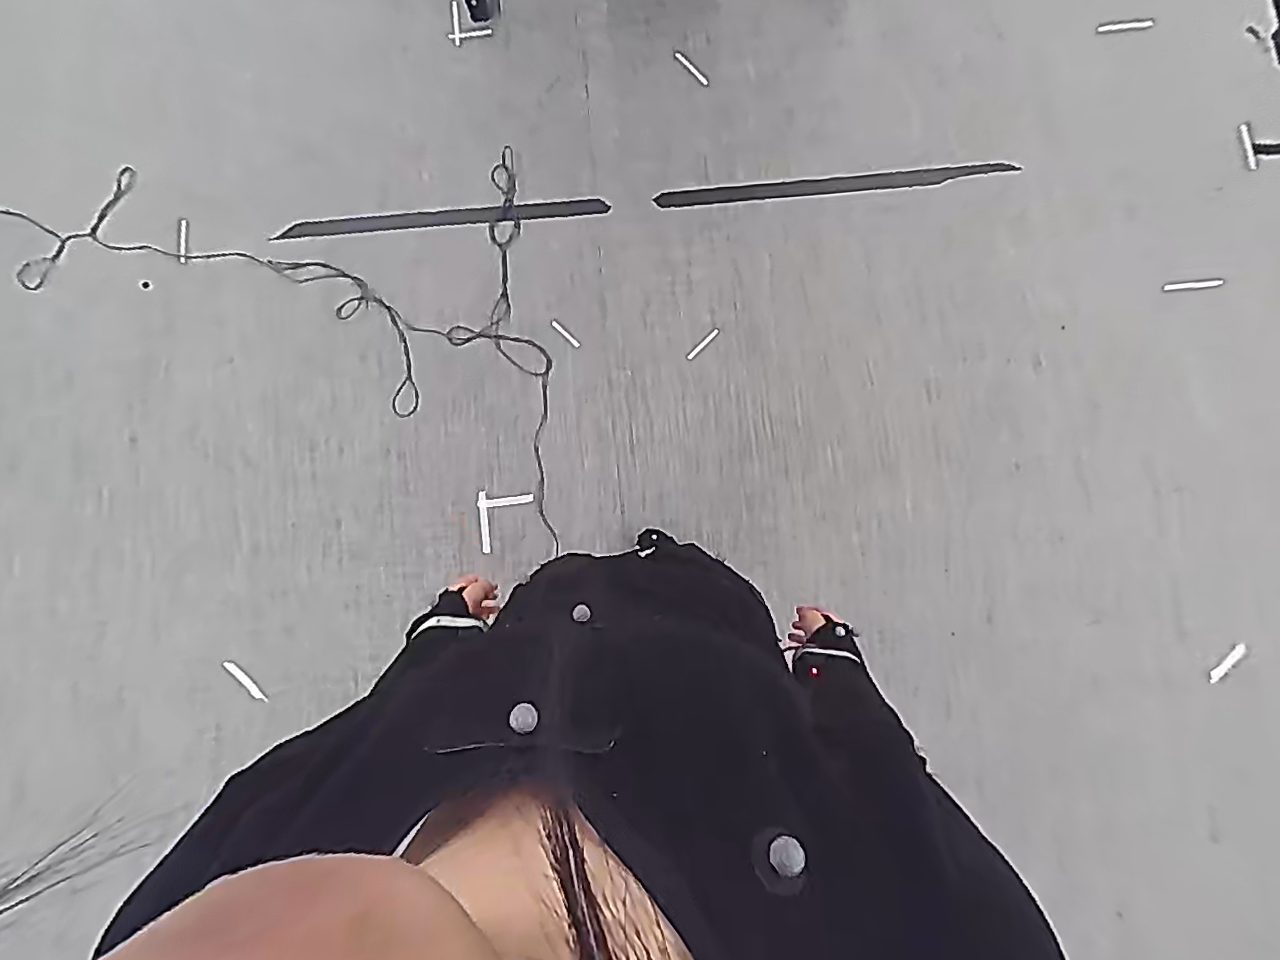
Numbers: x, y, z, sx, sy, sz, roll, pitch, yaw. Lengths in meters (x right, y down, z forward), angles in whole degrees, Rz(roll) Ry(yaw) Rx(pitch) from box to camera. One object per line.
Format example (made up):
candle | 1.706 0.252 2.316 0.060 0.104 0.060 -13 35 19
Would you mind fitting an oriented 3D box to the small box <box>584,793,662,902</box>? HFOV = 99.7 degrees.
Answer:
small box | -0.038 0.898 1.335 0.179 0.176 0.168 -5 84 1
